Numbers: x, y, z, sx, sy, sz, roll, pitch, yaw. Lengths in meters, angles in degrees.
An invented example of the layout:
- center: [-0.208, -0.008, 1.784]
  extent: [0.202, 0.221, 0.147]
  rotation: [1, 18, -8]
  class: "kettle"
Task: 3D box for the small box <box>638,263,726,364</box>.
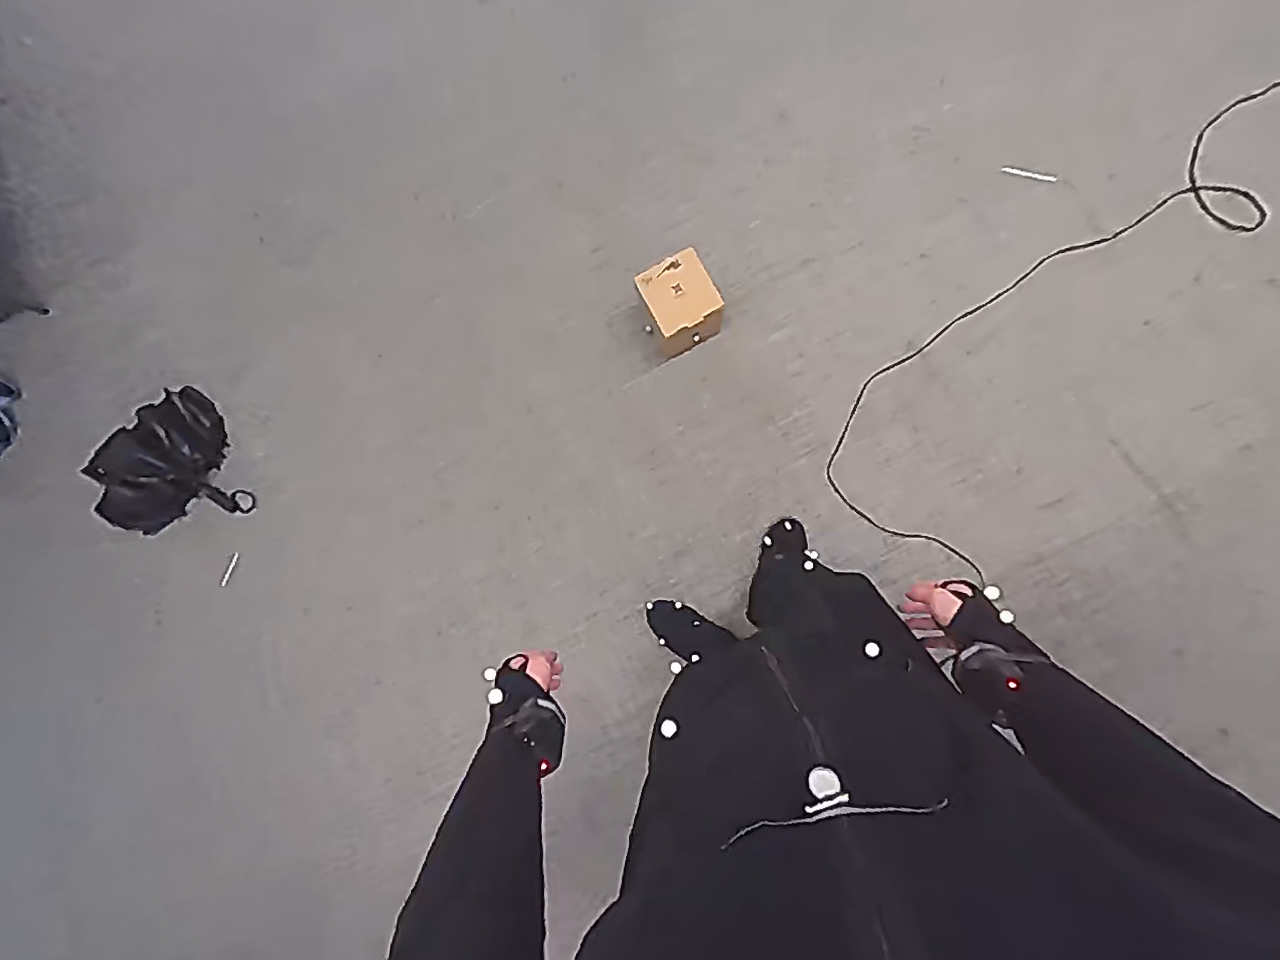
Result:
- center: [0.112, -0.421, 1.408]
  extent: [0.168, 0.176, 0.179]
  rotation: [-28, 83, 2]
  class: "small box"
